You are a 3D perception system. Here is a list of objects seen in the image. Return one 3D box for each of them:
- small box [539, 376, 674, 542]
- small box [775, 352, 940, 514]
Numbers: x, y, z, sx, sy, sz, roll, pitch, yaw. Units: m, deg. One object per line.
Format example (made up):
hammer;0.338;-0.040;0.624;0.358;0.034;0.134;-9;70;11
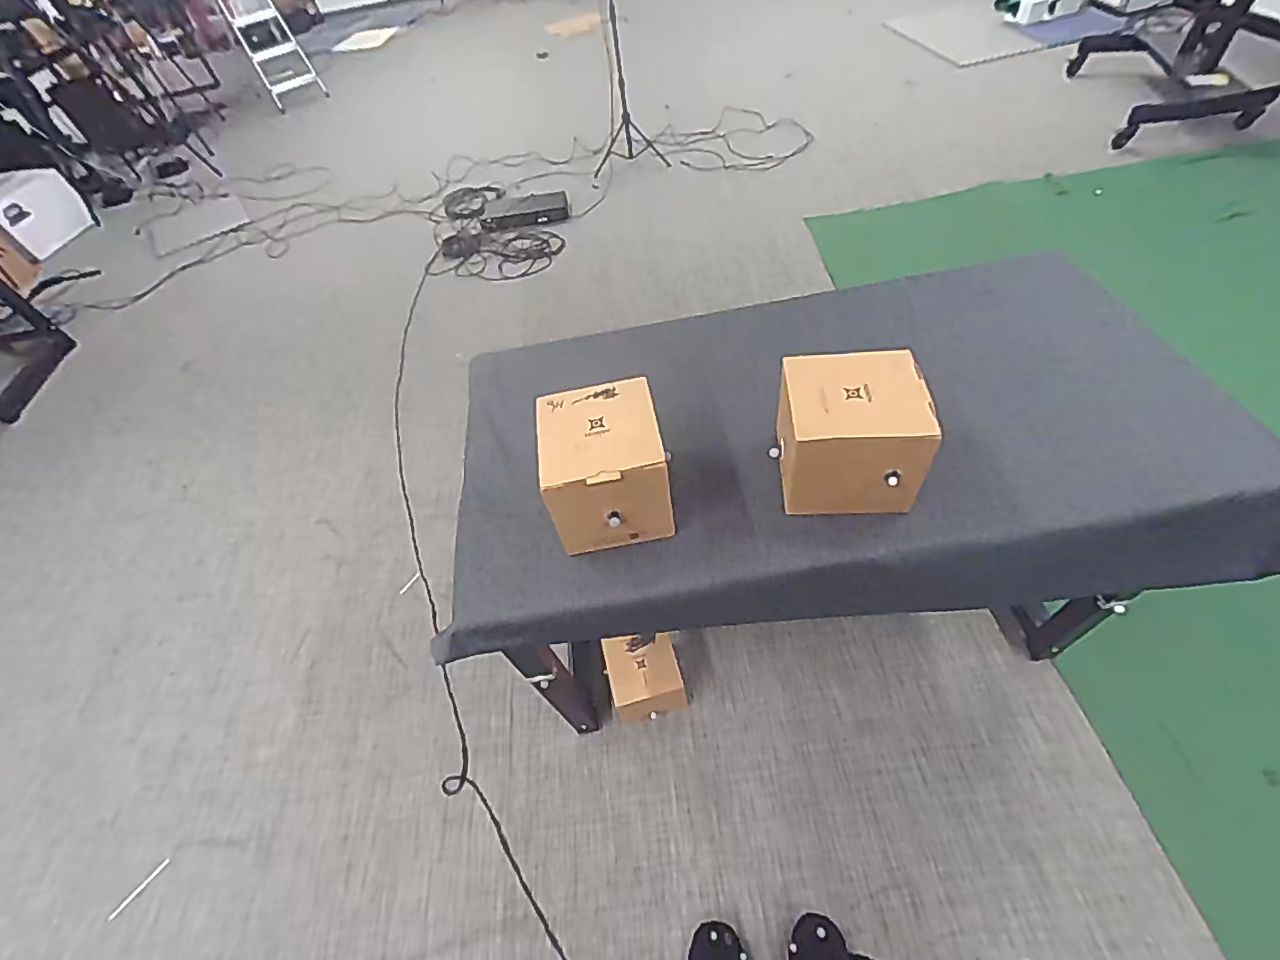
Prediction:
small box;-0.047;-0.023;0.799;0.168;0.176;0.179;-10;51;0
small box;0.298;-0.064;0.784;0.179;0.176;0.168;-2;51;8
